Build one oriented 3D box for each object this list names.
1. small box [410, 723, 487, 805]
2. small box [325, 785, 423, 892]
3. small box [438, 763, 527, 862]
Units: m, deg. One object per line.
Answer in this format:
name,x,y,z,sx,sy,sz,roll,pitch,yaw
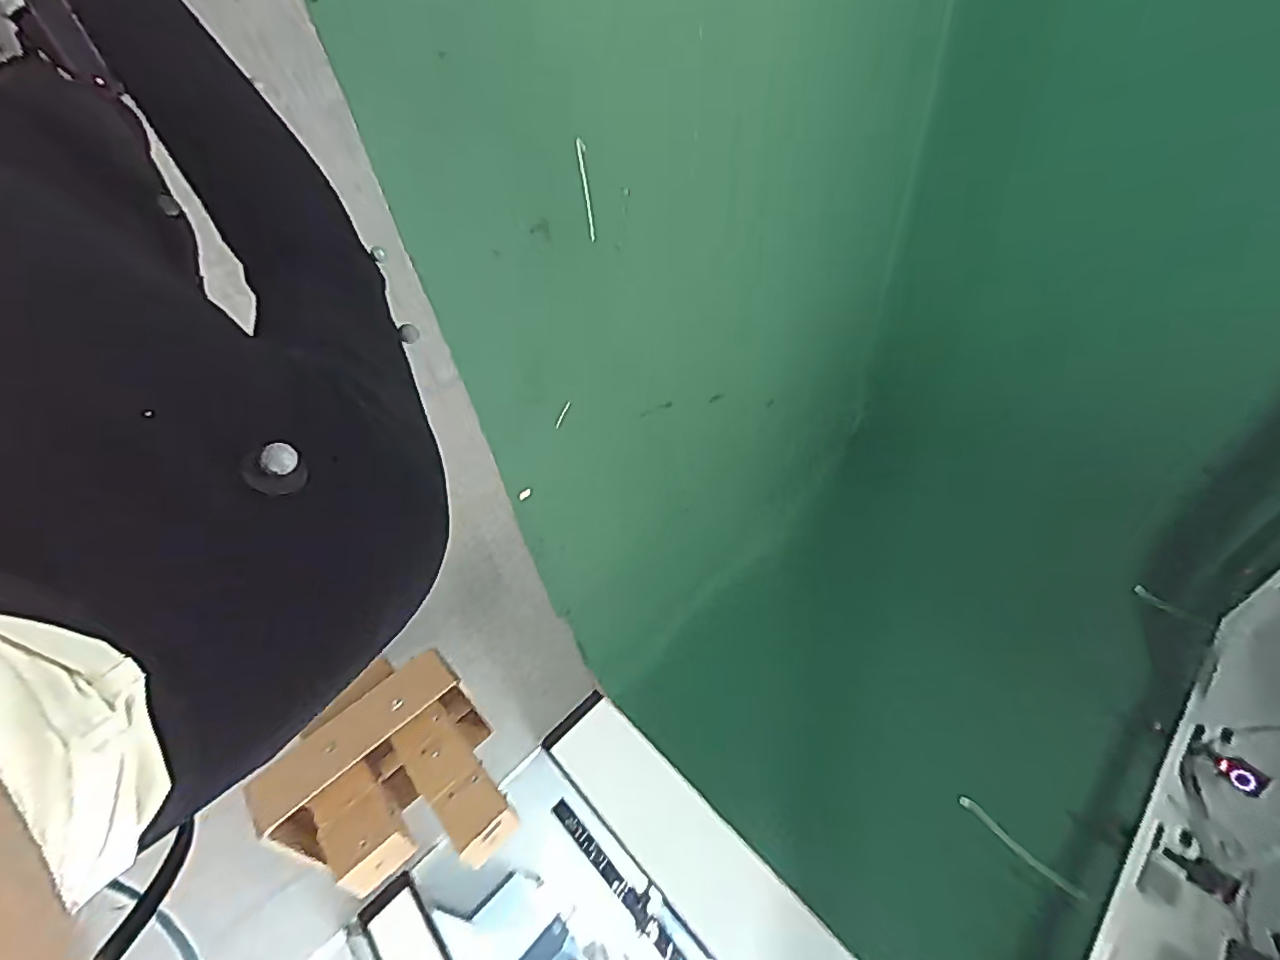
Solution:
small box,-0.583,0.898,1.687,0.168,0.176,0.179,-36,141,-26
small box,-0.773,1.036,1.571,0.179,0.176,0.168,-35,138,-27
small box,-0.467,0.977,1.599,0.168,0.176,0.179,-37,142,-25
